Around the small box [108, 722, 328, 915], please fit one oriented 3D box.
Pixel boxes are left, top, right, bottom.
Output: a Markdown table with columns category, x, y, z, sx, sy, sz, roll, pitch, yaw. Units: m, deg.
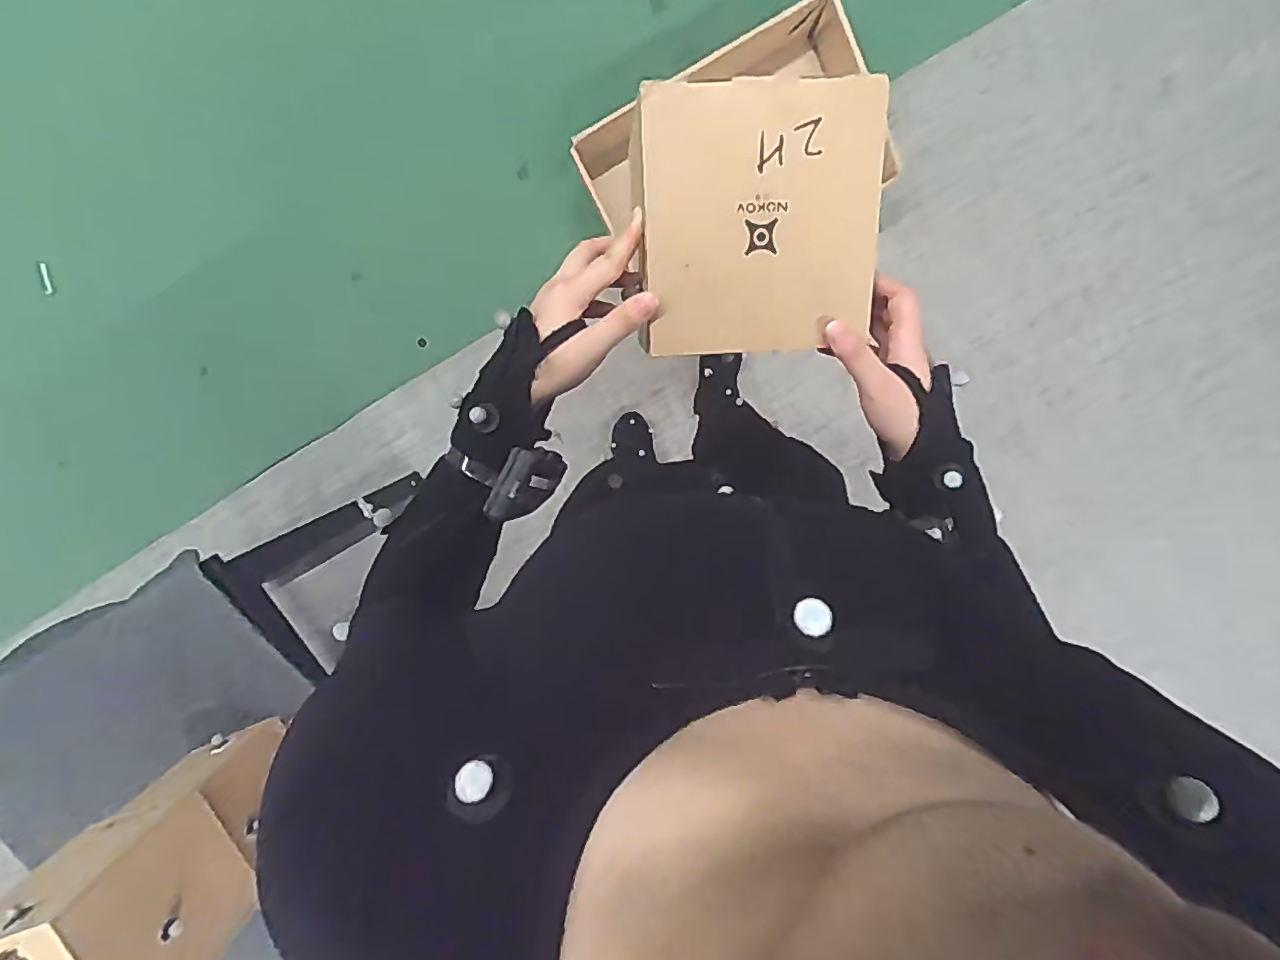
| category | x | y | z | sx | sy | sz | roll | pitch | yaw |
| --- | --- | --- | --- | --- | --- | --- | --- | --- | --- |
| small box | -0.579 | 0.478 | 0.746 | 0.168 | 0.176 | 0.179 | -25 | 100 | 5 |

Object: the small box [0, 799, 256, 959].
| category | x | y | z | sx | sy | sz | roll | pitch | yaw |
| --- | --- | --- | --- | --- | --- | --- | --- | --- | --- |
| small box | -0.571 | 0.494 | 0.582 | 0.168 | 0.176 | 0.179 | -22 | 101 | 5 |
